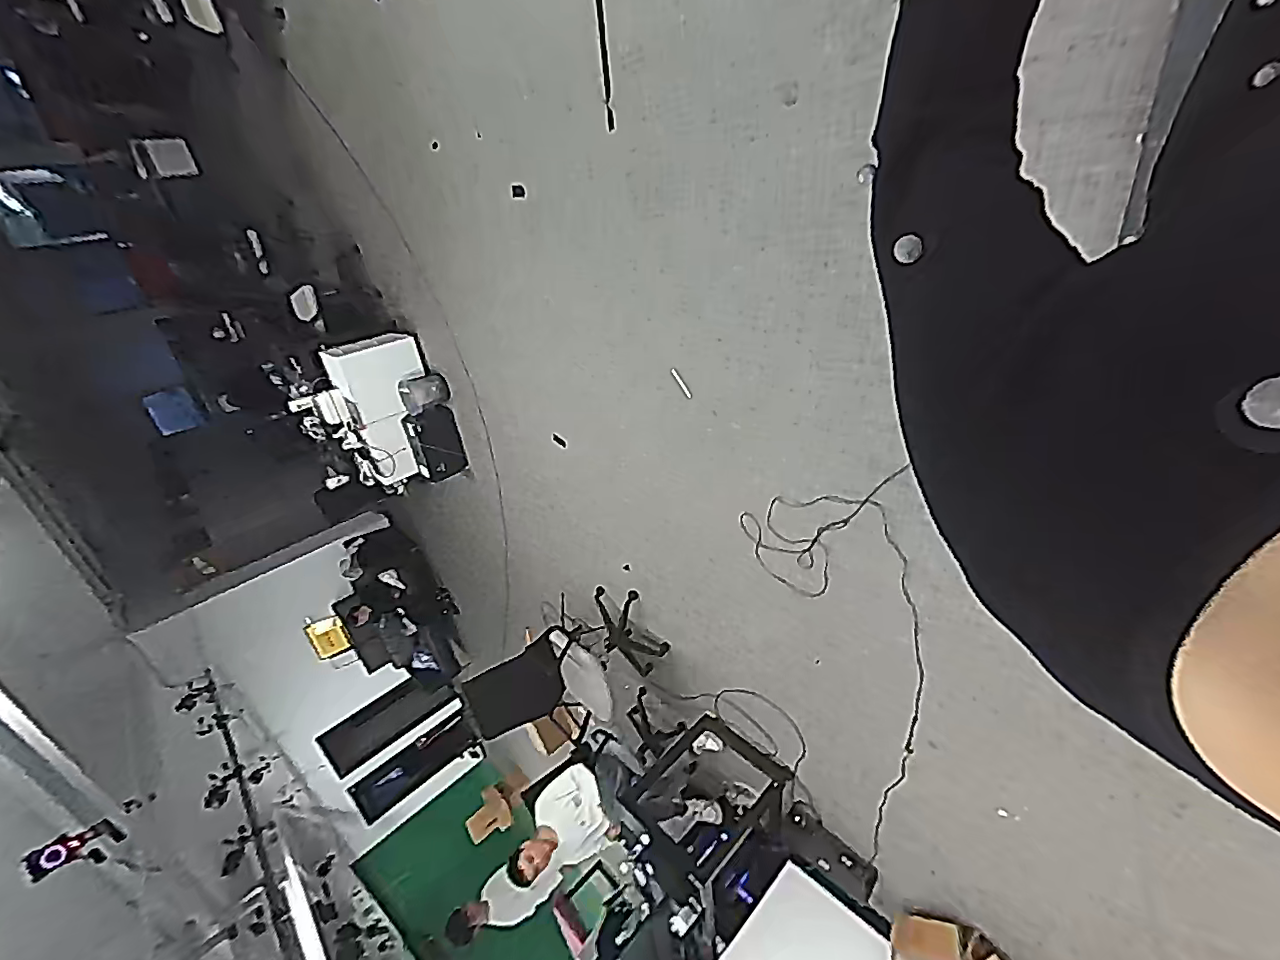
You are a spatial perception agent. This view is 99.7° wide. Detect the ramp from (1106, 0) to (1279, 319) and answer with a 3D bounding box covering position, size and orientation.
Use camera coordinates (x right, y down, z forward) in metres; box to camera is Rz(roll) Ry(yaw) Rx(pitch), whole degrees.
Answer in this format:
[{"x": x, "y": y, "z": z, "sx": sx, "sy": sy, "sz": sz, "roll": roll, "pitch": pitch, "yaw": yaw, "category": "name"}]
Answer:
[{"x": 1.062, "y": -0.696, "z": 0.735, "sx": 0.509, "sy": 0.206, "sz": 0.991, "roll": 19, "pitch": 128, "yaw": 42, "category": "ramp"}]
